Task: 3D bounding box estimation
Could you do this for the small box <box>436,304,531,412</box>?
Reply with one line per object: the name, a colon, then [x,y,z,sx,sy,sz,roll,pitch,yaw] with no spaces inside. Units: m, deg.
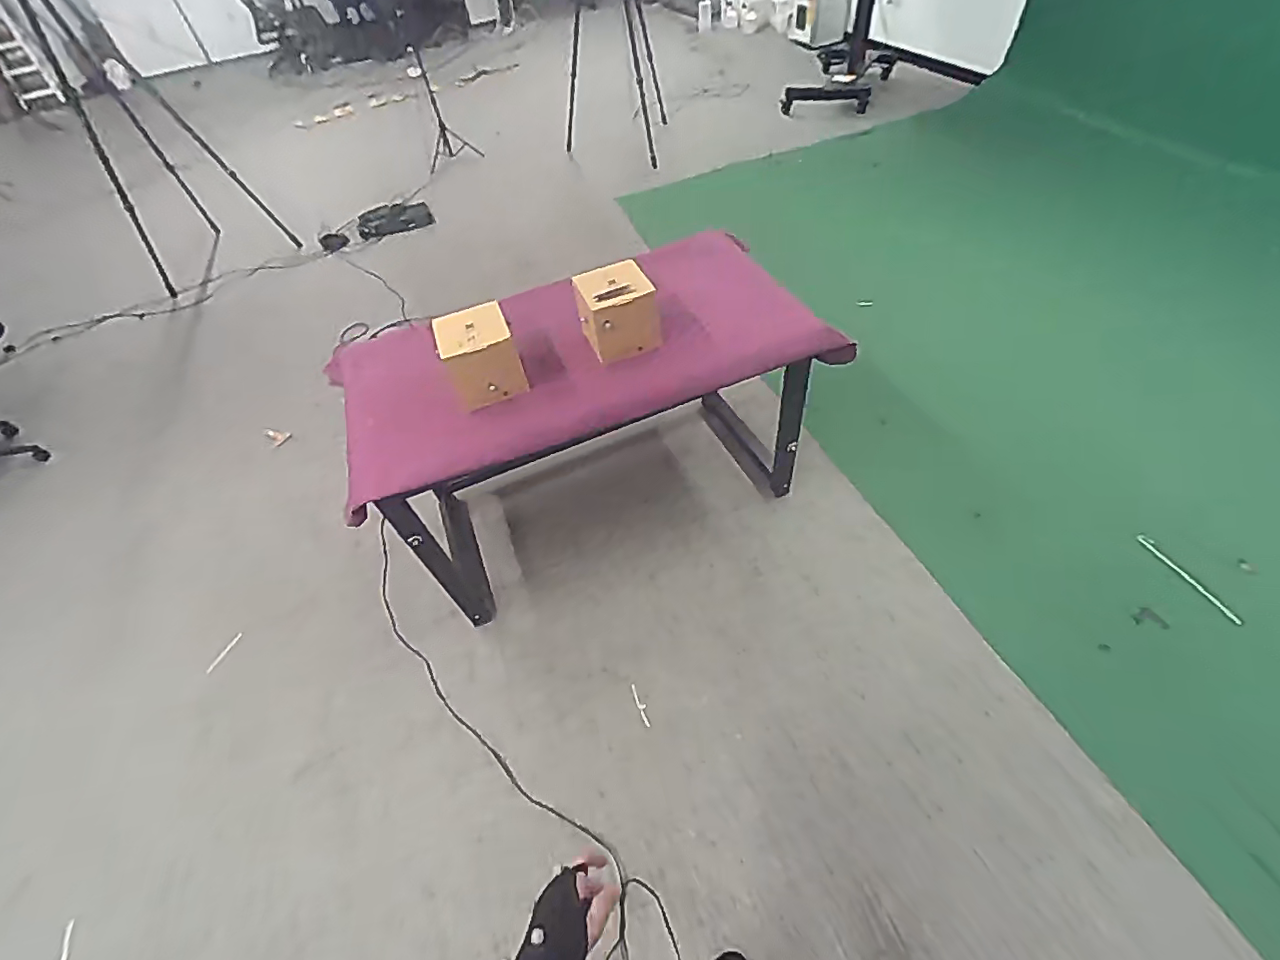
small box: [-0.381,-0.298,1.324,0.168,0.176,0.179,-20,51,-9]
